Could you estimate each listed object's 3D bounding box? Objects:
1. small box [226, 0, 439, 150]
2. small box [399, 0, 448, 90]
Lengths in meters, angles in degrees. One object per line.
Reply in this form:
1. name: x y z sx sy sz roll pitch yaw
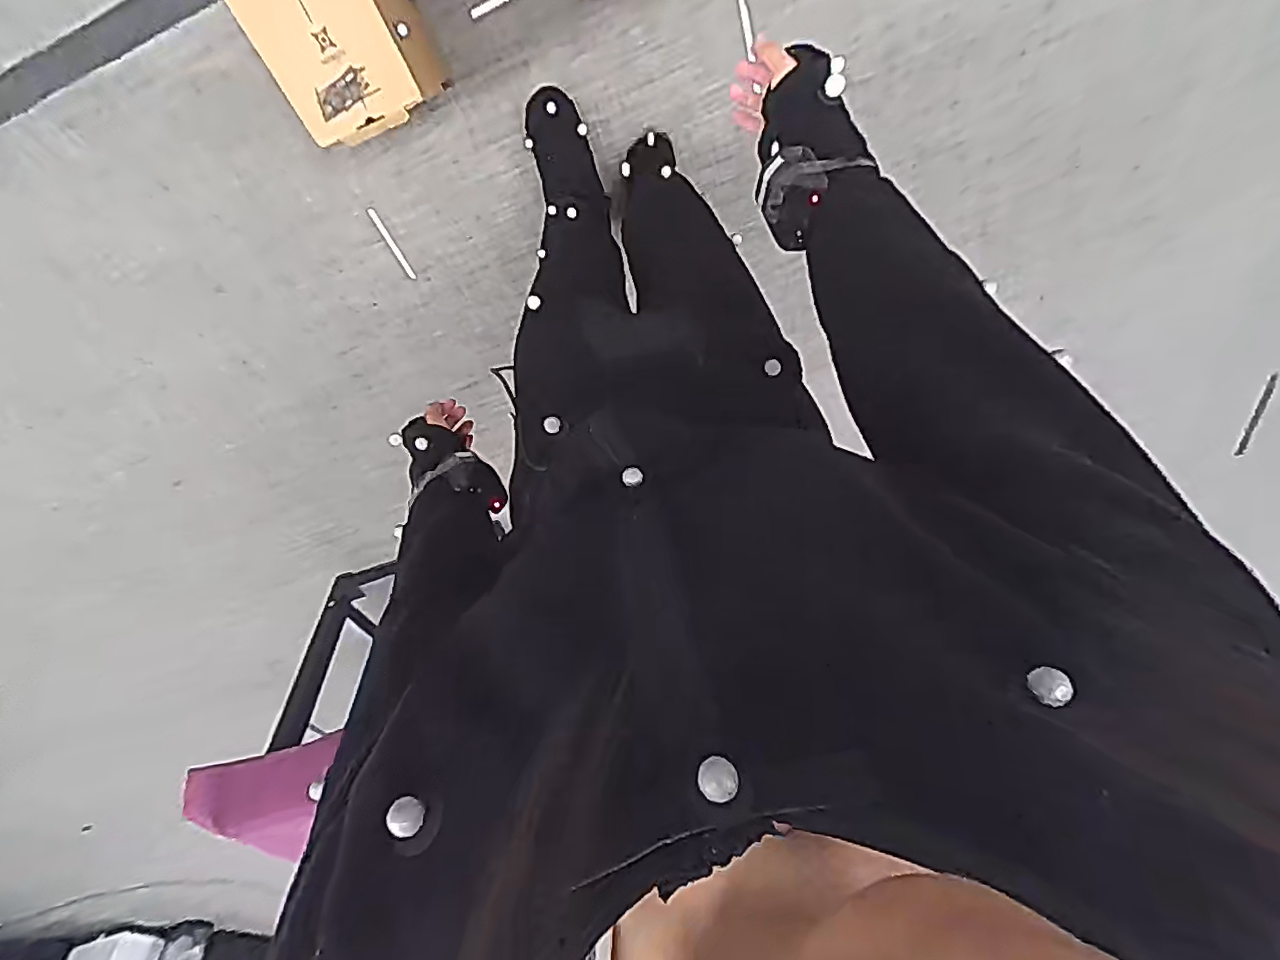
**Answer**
1. small box: -0.402 -0.593 0.747 0.168 0.176 0.179 -20 128 7
2. small box: -0.430 -0.695 0.873 0.179 0.176 0.168 -22 129 9
